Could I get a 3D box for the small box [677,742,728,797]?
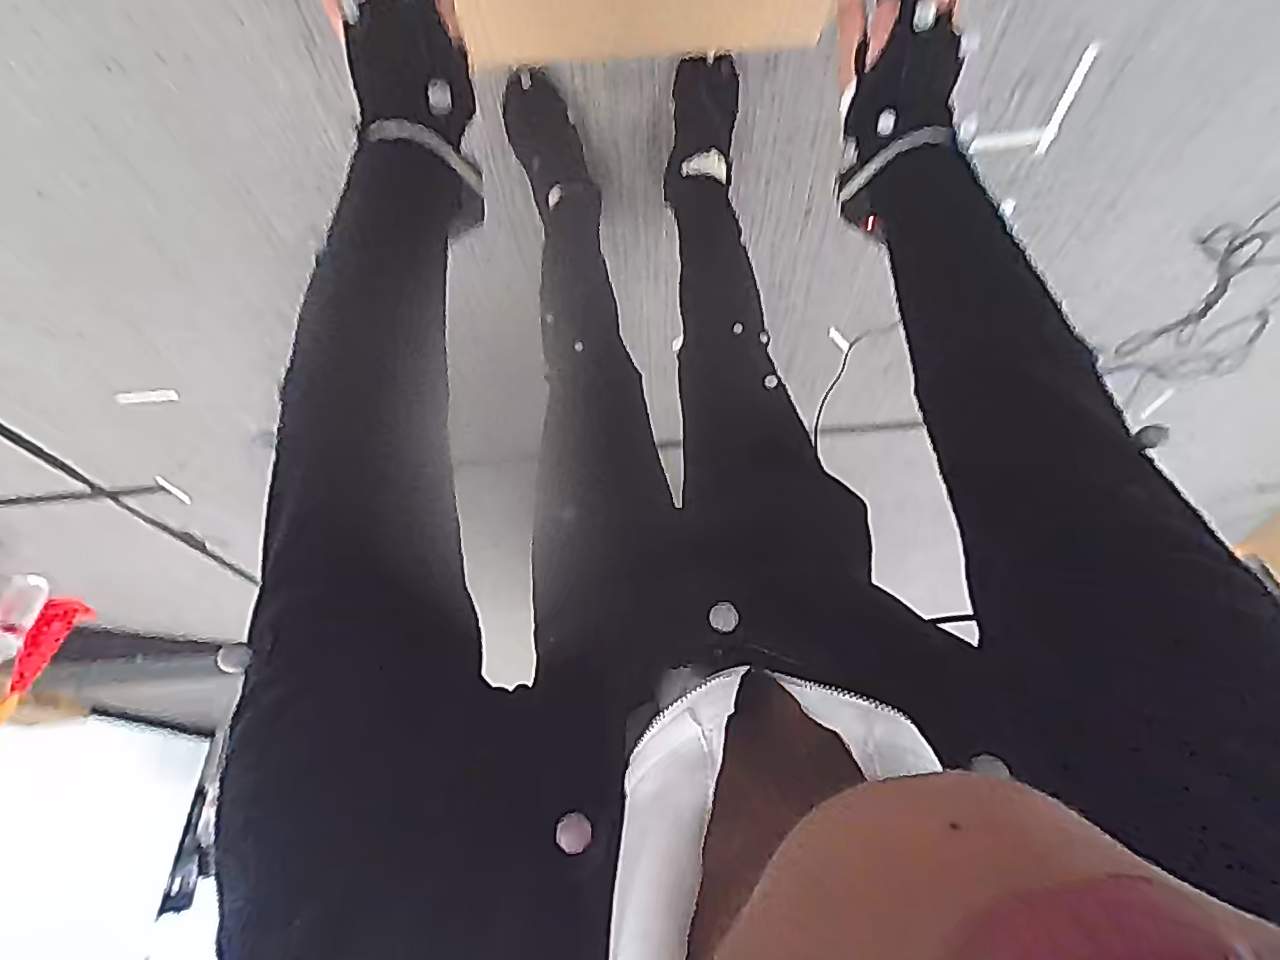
[{"bbox_3d":[0.238,1.127,2.108,0.168,0.176,0.179,-4,146,-2],"label":"small box"}]
